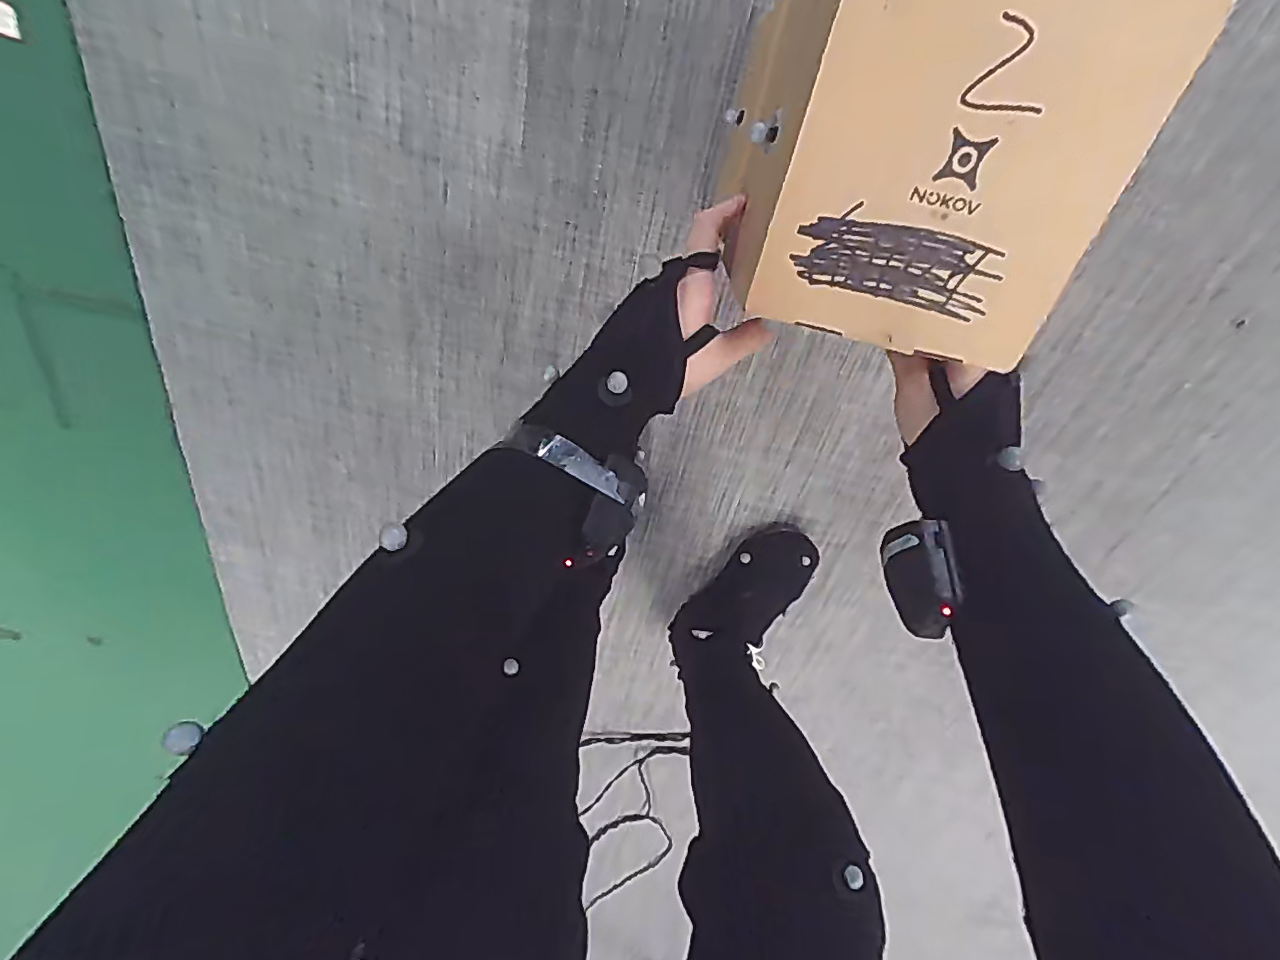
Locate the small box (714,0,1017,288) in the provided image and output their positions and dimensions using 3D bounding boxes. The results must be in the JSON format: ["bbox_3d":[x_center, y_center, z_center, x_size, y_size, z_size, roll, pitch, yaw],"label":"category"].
[{"bbox_3d":[0.172,-0.290,0.487,0.179,0.176,0.168,12,122,-4],"label":"small box"}]
